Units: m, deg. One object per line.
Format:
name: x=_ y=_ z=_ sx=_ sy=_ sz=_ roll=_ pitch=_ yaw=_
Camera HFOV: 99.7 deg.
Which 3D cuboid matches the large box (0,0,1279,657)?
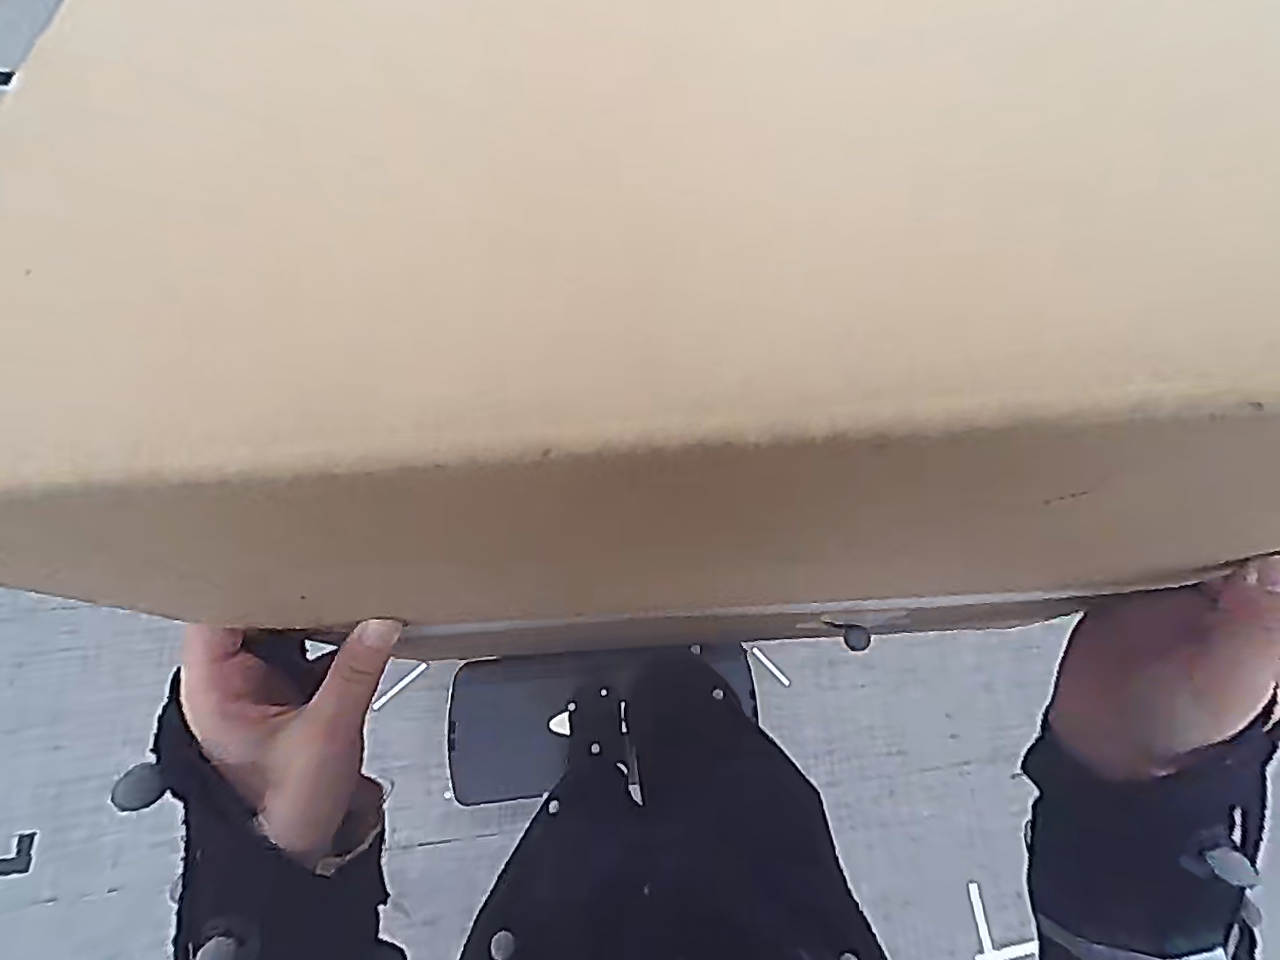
large box: x=0.013 y=-0.093 z=0.292 sx=0.408 sy=0.320 sz=0.320 roll=-6 pitch=69 yaw=2
